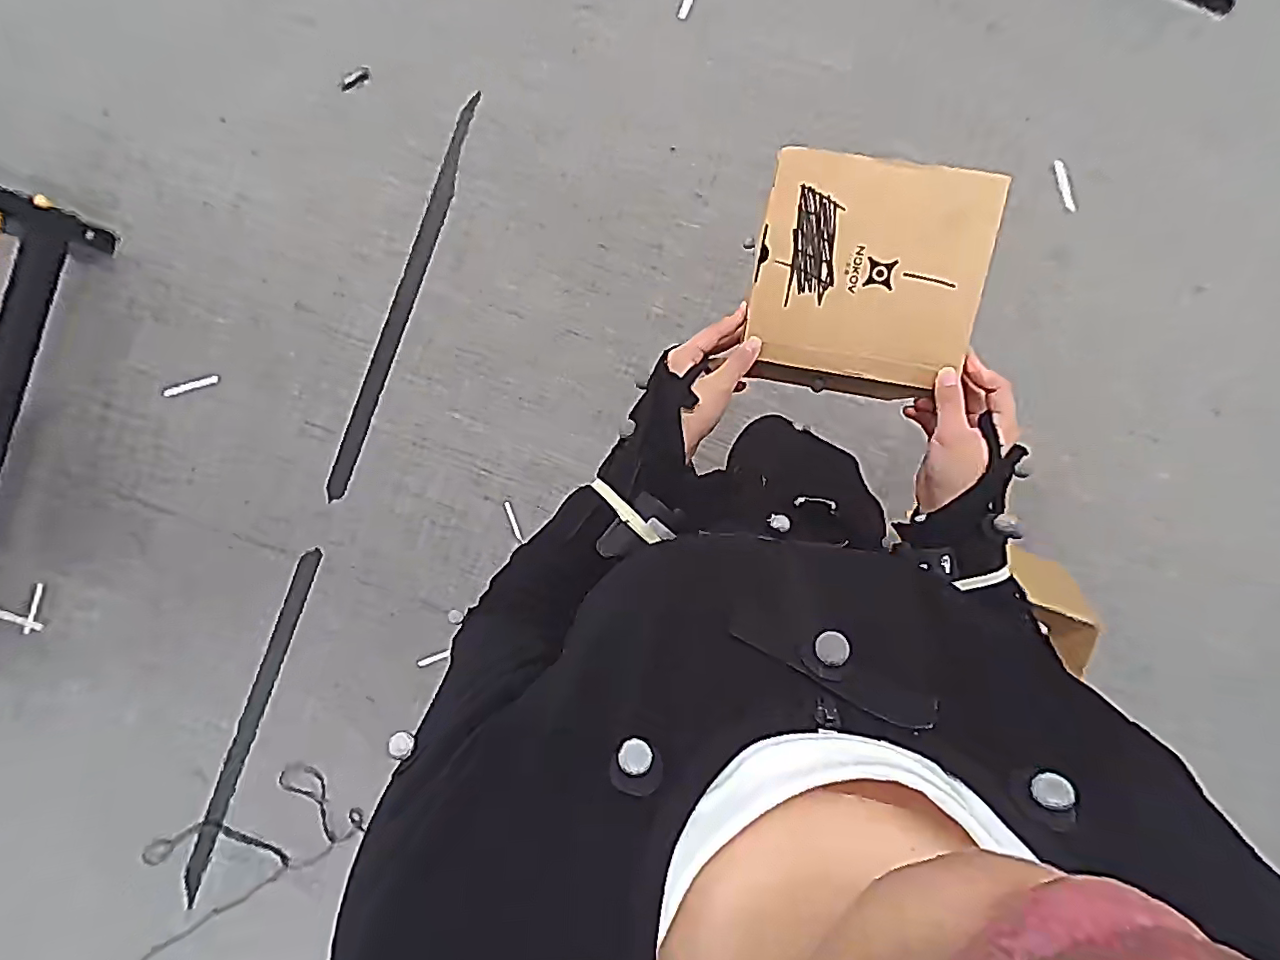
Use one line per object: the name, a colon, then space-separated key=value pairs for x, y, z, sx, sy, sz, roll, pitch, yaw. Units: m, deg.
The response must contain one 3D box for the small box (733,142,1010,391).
small box: x=0.186 y=-0.177 z=0.498 sx=0.179 sy=0.176 sz=0.168 roll=10 pitch=99 yaw=6
